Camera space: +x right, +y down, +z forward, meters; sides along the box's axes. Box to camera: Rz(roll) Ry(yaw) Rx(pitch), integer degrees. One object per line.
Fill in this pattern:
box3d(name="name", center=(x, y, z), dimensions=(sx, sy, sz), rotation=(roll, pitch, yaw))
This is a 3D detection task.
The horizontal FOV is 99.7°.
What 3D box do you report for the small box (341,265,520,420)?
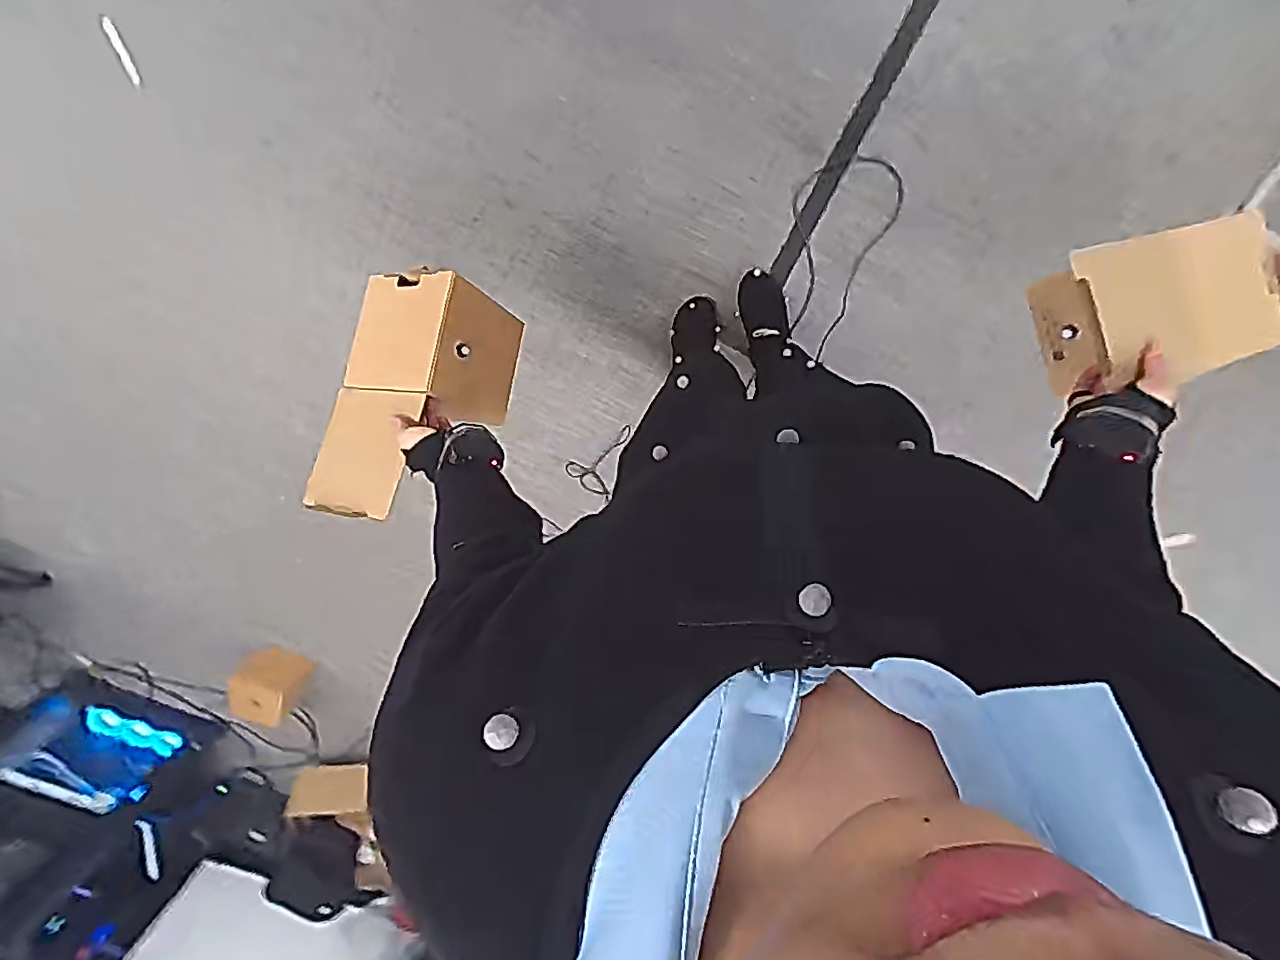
box3d(name="small box", center=(-0.303, -0.198, 0.813), dimensions=(0.168, 0.176, 0.179), rotation=(9, 82, 23))
